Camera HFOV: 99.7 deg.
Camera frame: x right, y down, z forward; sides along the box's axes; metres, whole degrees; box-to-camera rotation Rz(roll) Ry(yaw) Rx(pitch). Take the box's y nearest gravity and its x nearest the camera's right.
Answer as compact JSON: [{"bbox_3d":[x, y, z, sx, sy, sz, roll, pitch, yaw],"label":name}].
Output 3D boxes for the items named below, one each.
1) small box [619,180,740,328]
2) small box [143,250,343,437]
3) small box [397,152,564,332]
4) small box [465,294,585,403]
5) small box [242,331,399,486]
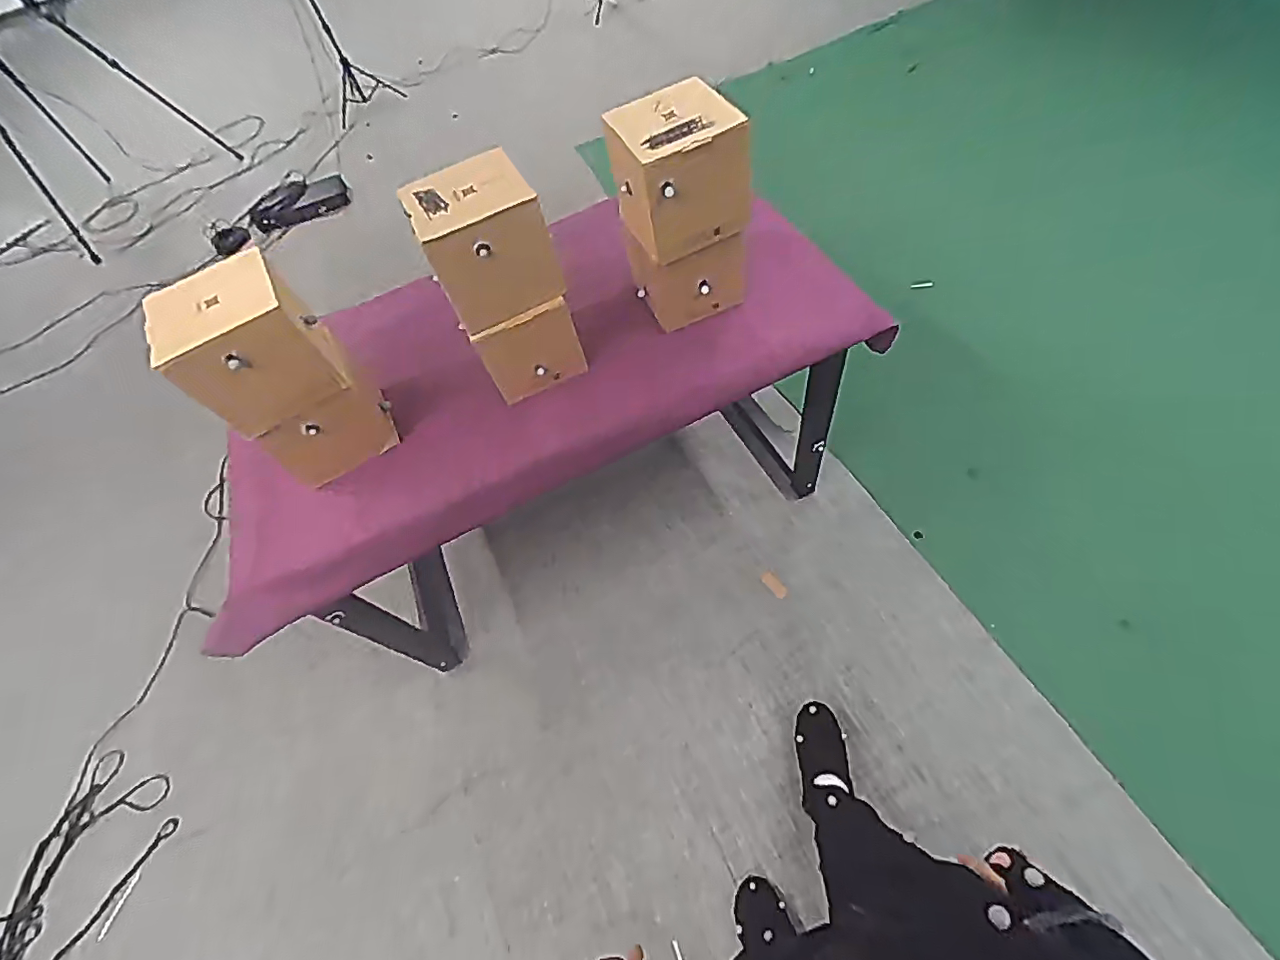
[{"bbox_3d":[0.078,-0.409,1.005,0.168,0.176,0.179,-23,58,-4],"label":"small box"},{"bbox_3d":[-0.578,-0.199,0.809,0.179,0.176,0.168,-32,61,-8],"label":"small box"},{"bbox_3d":[-0.242,-0.364,0.843,0.179,0.176,0.168,-27,58,-7],"label":"small box"},{"bbox_3d":[-0.217,-0.273,0.977,0.168,0.176,0.179,-25,59,-4],"label":"small box"},{"bbox_3d":[-0.560,-0.118,0.948,0.179,0.176,0.168,-30,60,-8],"label":"small box"}]
